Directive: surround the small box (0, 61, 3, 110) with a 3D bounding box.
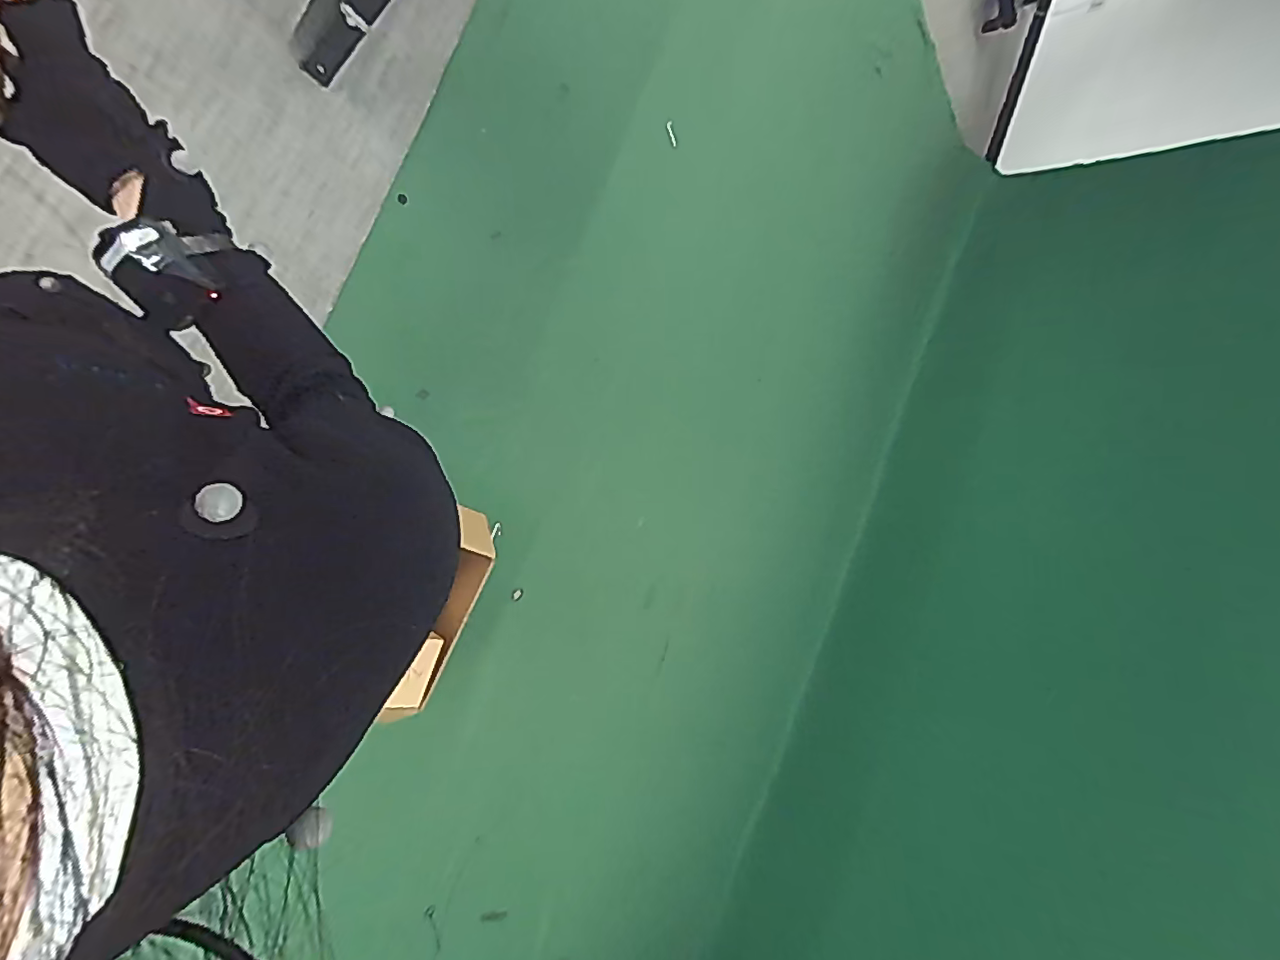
[{"bbox_3d":[-0.467,-0.338,0.280,0.168,0.176,0.179,-6,99,-47],"label":"small box"}]
